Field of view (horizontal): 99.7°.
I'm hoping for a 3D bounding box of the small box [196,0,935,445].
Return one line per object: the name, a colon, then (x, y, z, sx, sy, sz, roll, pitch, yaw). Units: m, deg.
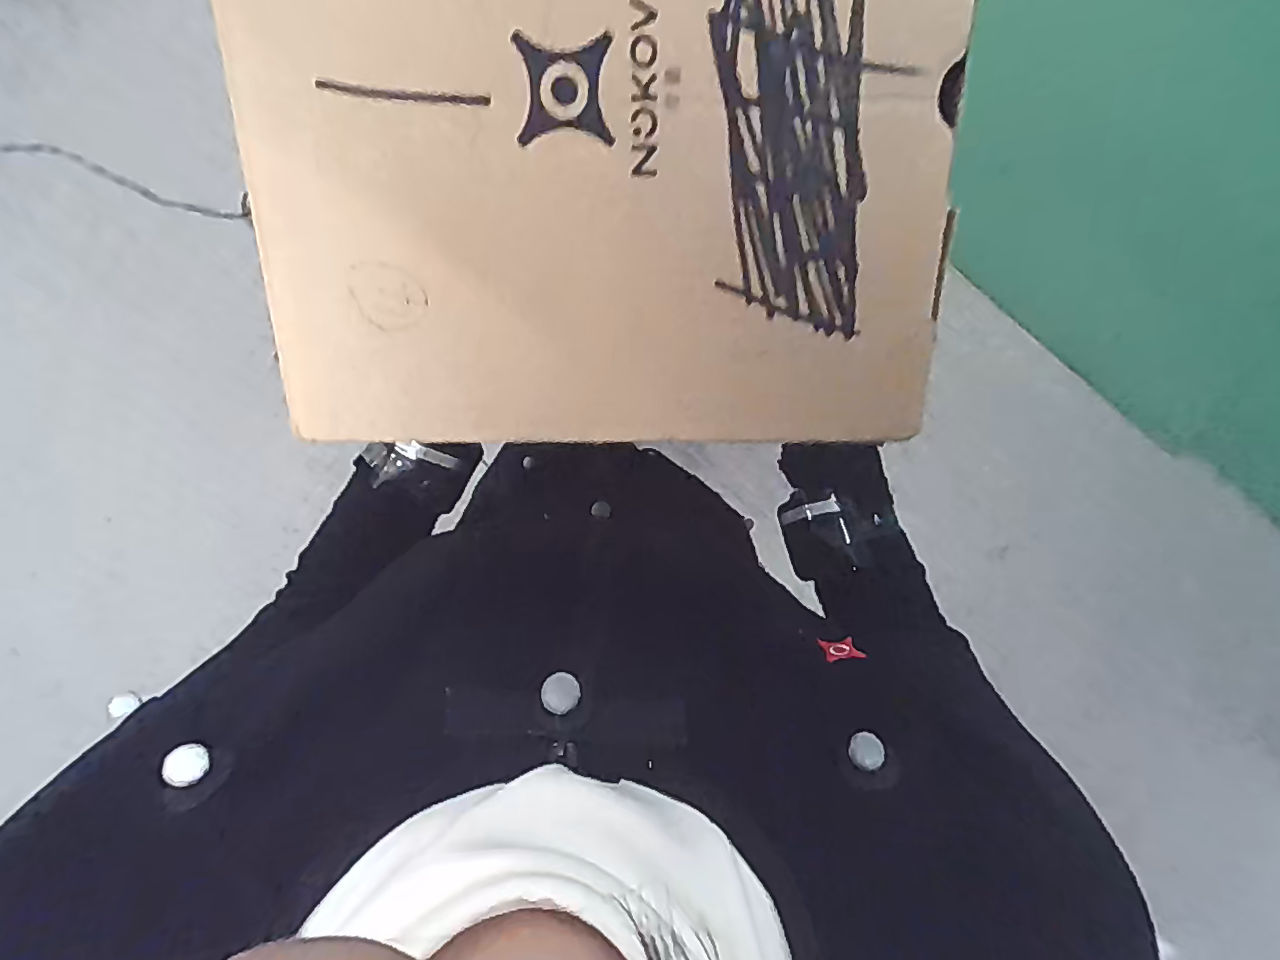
small box: (-0.017, -0.117, 0.209, 0.179, 0.176, 0.168, -4, 108, 0)
